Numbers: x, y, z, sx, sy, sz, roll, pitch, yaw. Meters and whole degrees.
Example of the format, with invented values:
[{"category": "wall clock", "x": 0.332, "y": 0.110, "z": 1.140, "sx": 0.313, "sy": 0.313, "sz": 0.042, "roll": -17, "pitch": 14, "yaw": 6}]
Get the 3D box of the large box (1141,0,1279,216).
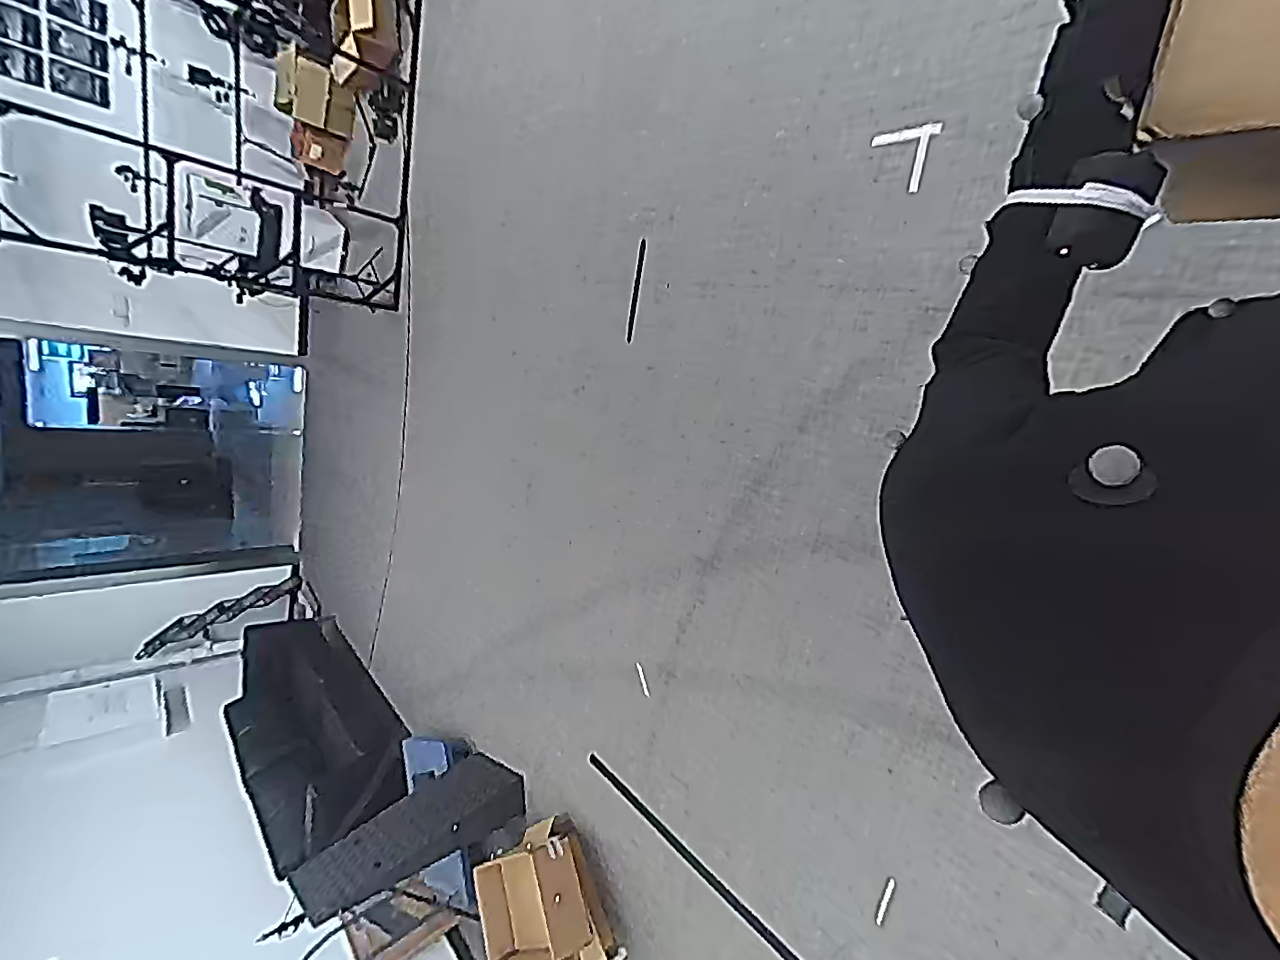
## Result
[{"category": "large box", "x": 0.605, "y": -0.363, "z": 0.309, "sx": 0.408, "sy": 0.320, "sz": 0.320, "roll": 20, "pitch": 113, "yaw": 43}]
